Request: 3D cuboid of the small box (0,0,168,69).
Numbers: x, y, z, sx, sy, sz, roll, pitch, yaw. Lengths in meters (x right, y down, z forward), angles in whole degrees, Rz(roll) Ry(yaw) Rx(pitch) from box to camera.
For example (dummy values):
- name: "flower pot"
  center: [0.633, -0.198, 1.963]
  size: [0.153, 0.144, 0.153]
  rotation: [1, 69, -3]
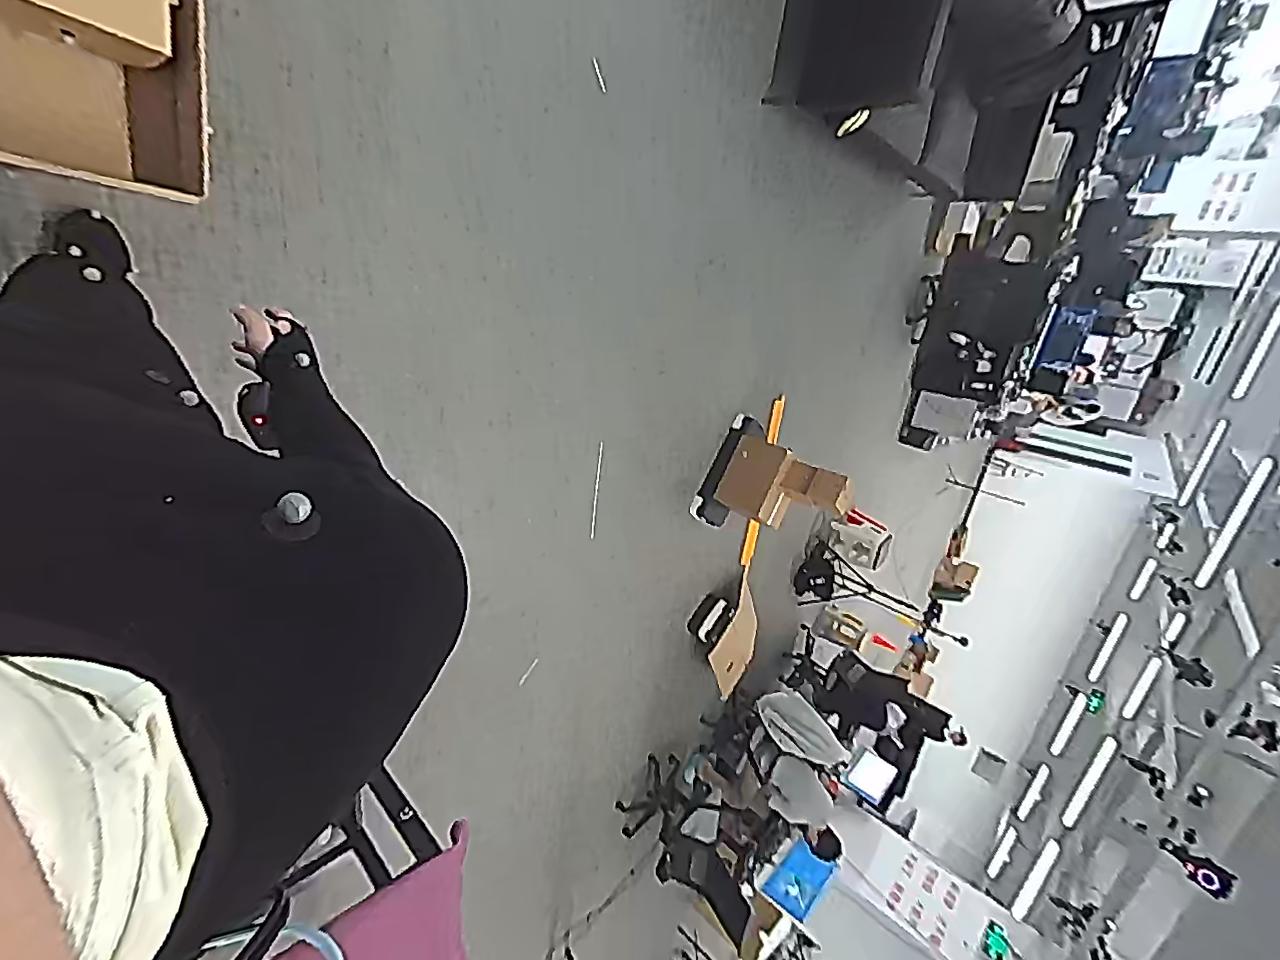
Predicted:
- name: "small box"
  center: [-0.705, -0.646, 0.666]
  size: [0.168, 0.176, 0.179]
  rotation: [-7, 115, -50]
